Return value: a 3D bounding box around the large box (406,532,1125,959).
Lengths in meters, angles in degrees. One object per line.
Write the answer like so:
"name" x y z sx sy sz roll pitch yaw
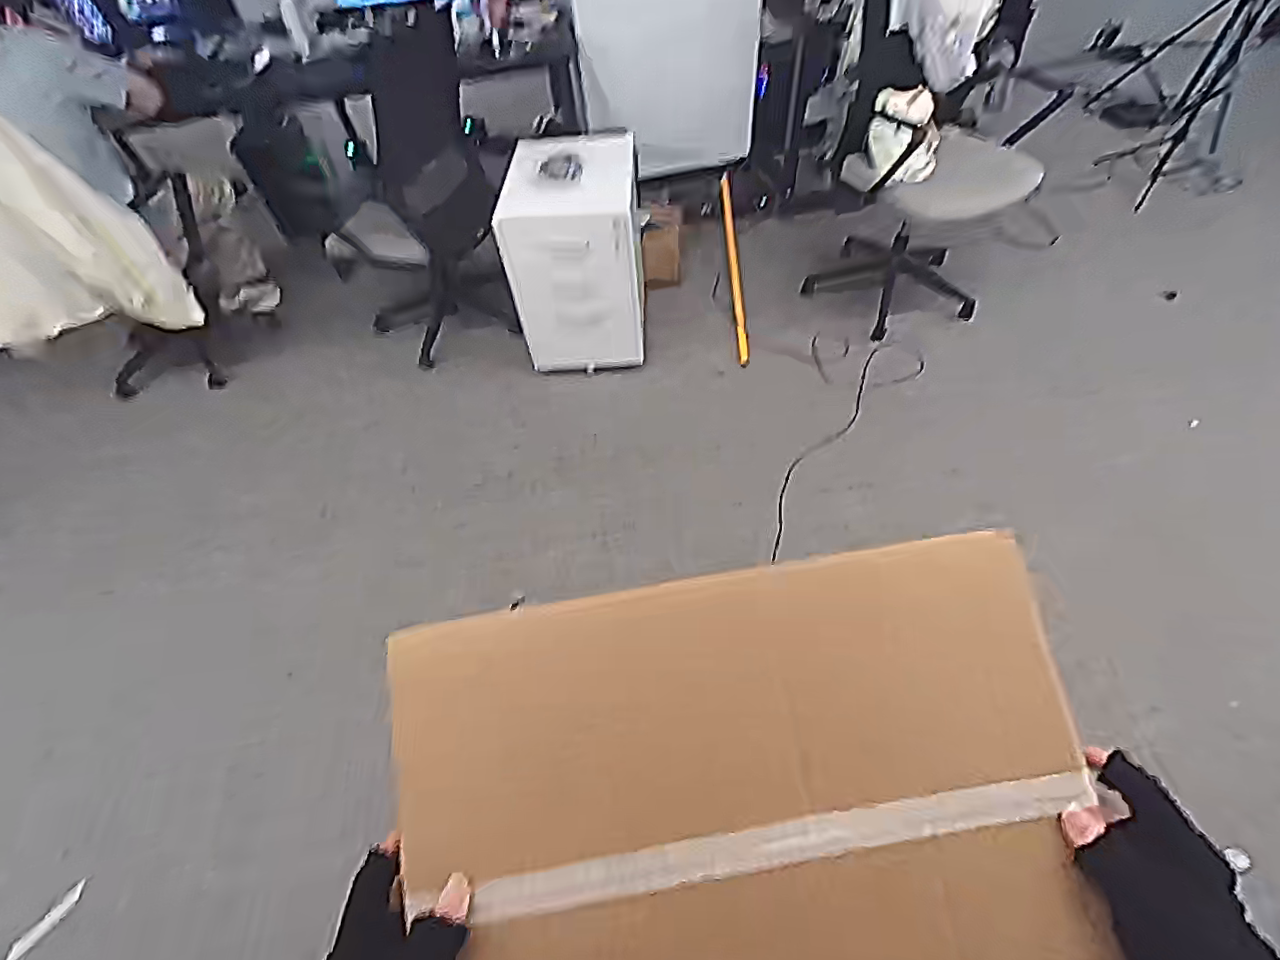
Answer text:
"large box" 0.069 0.249 0.473 0.408 0.320 0.320 -10 79 -1
